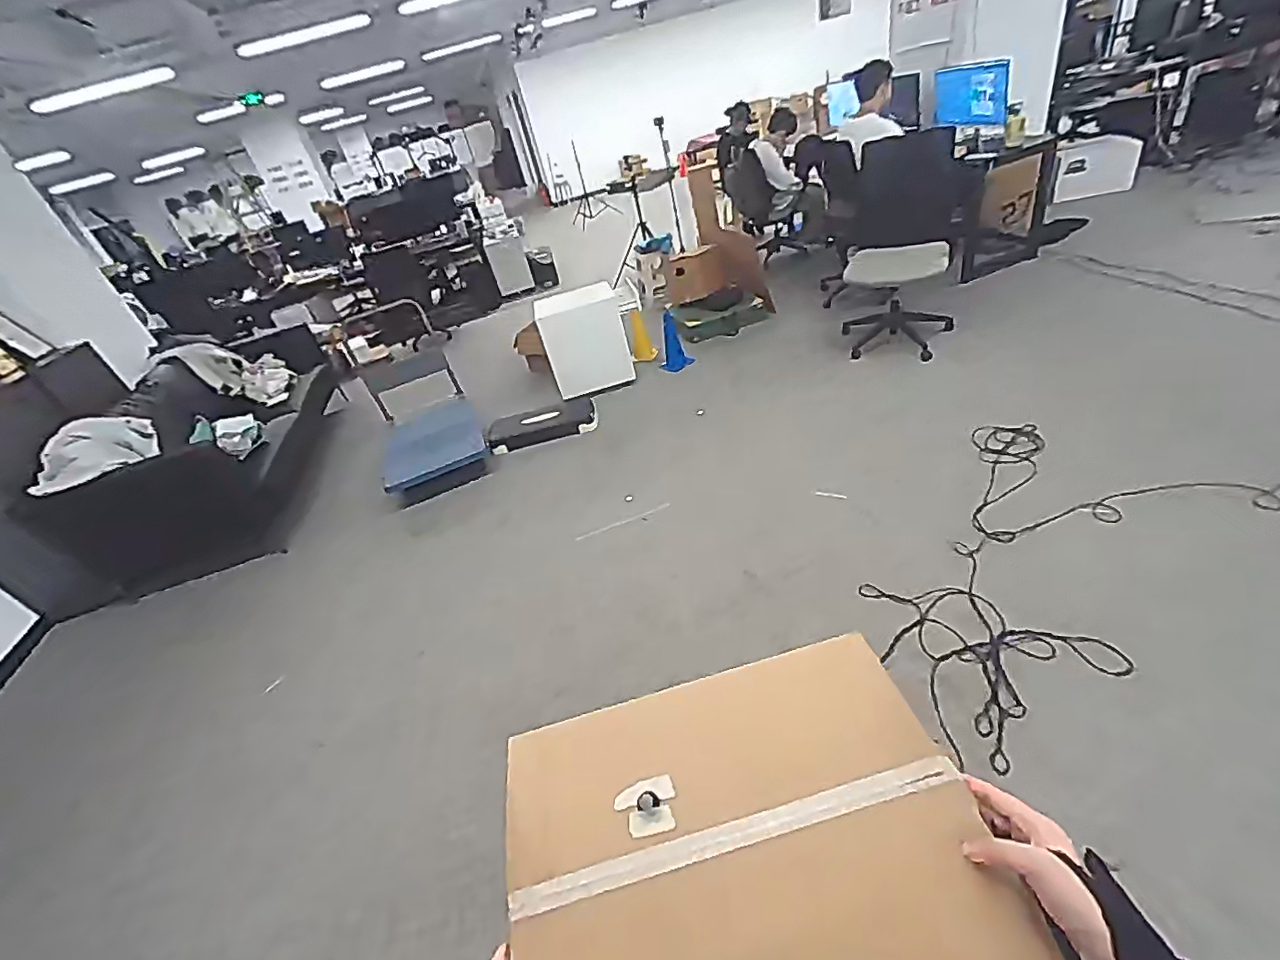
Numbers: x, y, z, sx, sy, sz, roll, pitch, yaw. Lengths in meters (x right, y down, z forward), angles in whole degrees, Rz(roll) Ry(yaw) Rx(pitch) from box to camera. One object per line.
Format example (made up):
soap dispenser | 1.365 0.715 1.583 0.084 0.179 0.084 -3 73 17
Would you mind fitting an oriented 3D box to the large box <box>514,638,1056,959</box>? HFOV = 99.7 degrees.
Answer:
large box | 0.116 0.437 0.575 0.408 0.320 0.320 -18 38 -1
